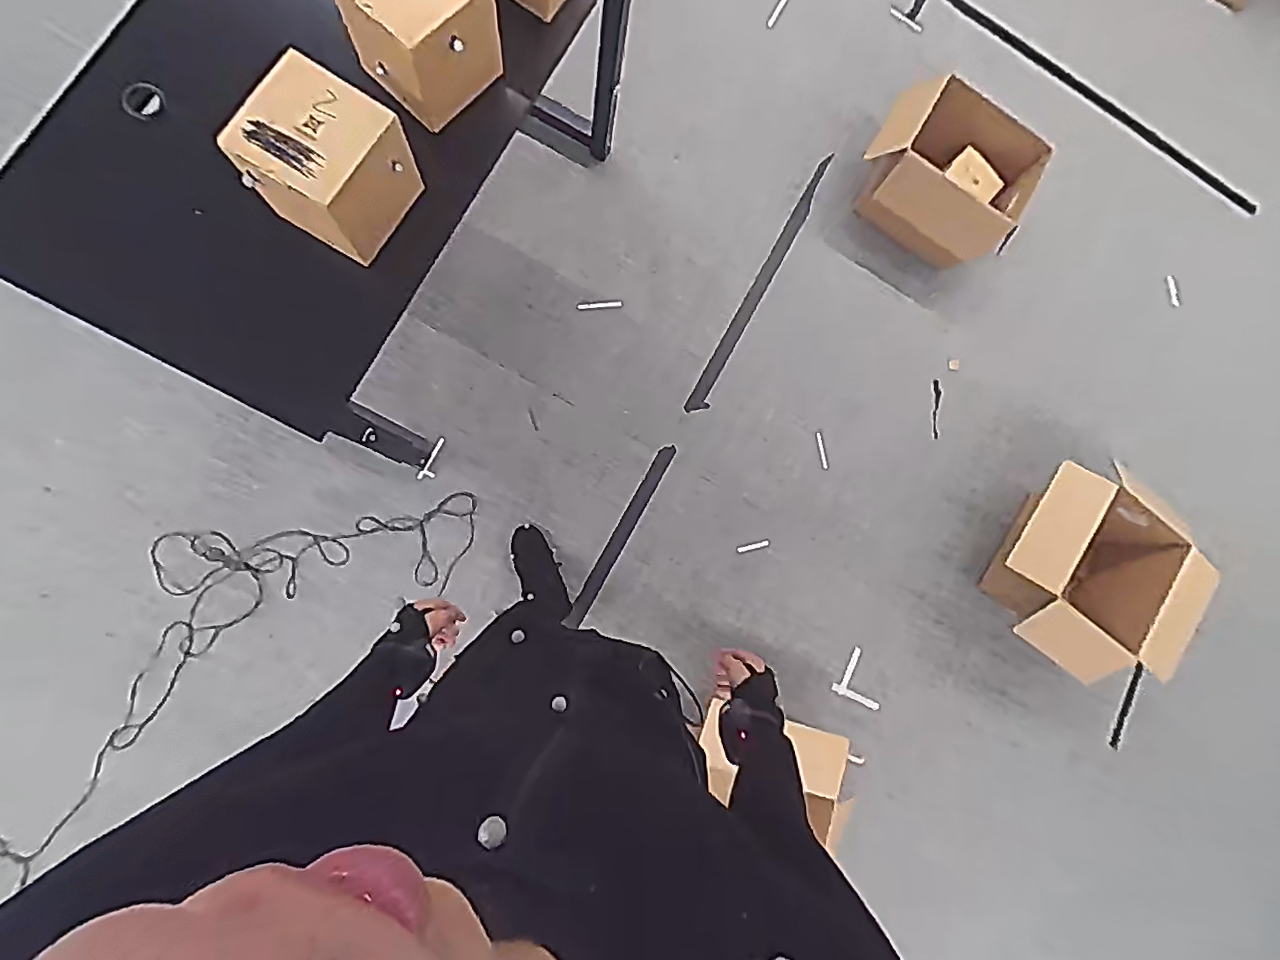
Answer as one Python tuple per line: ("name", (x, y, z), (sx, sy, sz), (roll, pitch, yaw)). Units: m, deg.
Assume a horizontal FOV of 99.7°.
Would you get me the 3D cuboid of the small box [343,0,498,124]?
("small box", (-0.343, -0.726, 0.855), (0.168, 0.176, 0.179), (42, 82, -3))
